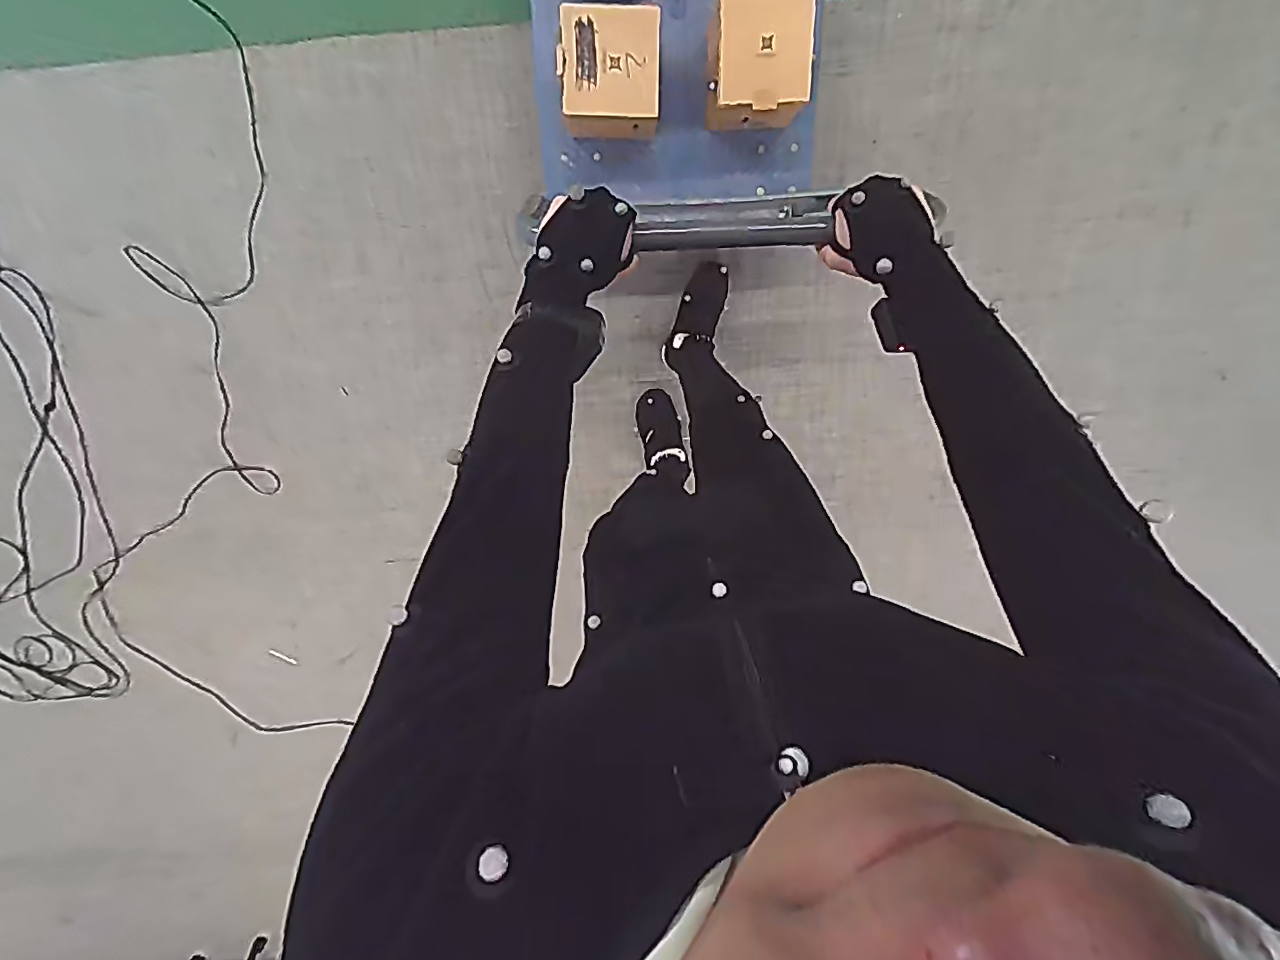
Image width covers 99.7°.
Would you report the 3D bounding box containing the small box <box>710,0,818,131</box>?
[{"bbox_3d":[0.226,-0.788,1.028,0.168,0.176,0.179,-3,111,0],"label":"small box"}]
